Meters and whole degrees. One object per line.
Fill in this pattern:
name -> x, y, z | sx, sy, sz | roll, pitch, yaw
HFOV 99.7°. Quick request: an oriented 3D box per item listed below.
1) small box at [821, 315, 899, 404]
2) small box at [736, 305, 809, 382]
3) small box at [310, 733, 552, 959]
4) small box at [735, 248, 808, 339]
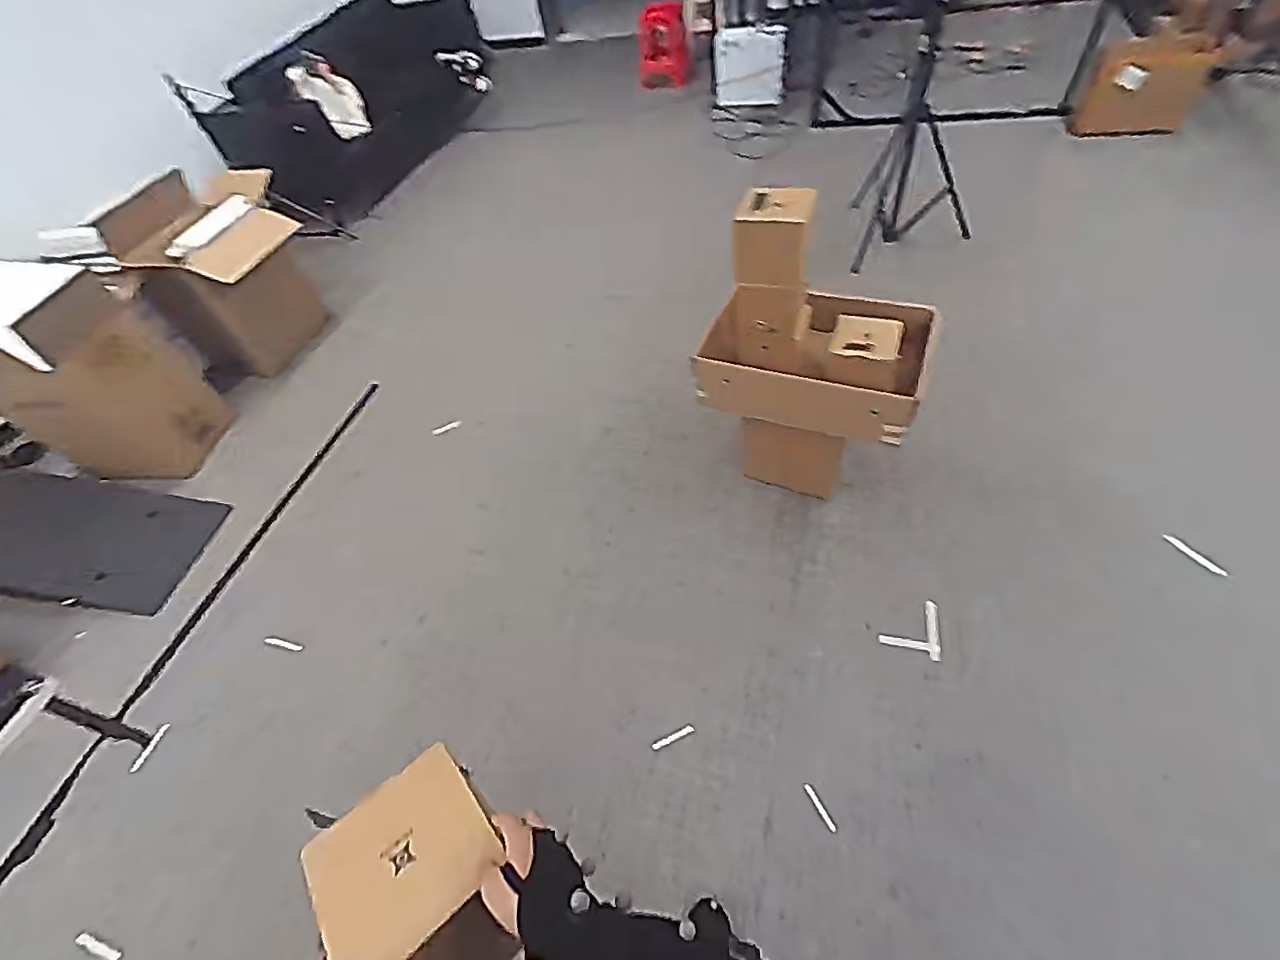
small box -> 0.616, -0.339, 1.527 | 0.168, 0.176, 0.179 | 14, 56, 20
small box -> 0.396, -0.418, 1.630 | 0.179, 0.176, 0.168 | 14, 57, 19
small box -> -0.220, 0.431, 0.593 | 0.168, 0.176, 0.179 | -32, 39, -27
small box -> 0.363, -0.520, 1.505 | 0.168, 0.176, 0.179 | 11, 55, 19
